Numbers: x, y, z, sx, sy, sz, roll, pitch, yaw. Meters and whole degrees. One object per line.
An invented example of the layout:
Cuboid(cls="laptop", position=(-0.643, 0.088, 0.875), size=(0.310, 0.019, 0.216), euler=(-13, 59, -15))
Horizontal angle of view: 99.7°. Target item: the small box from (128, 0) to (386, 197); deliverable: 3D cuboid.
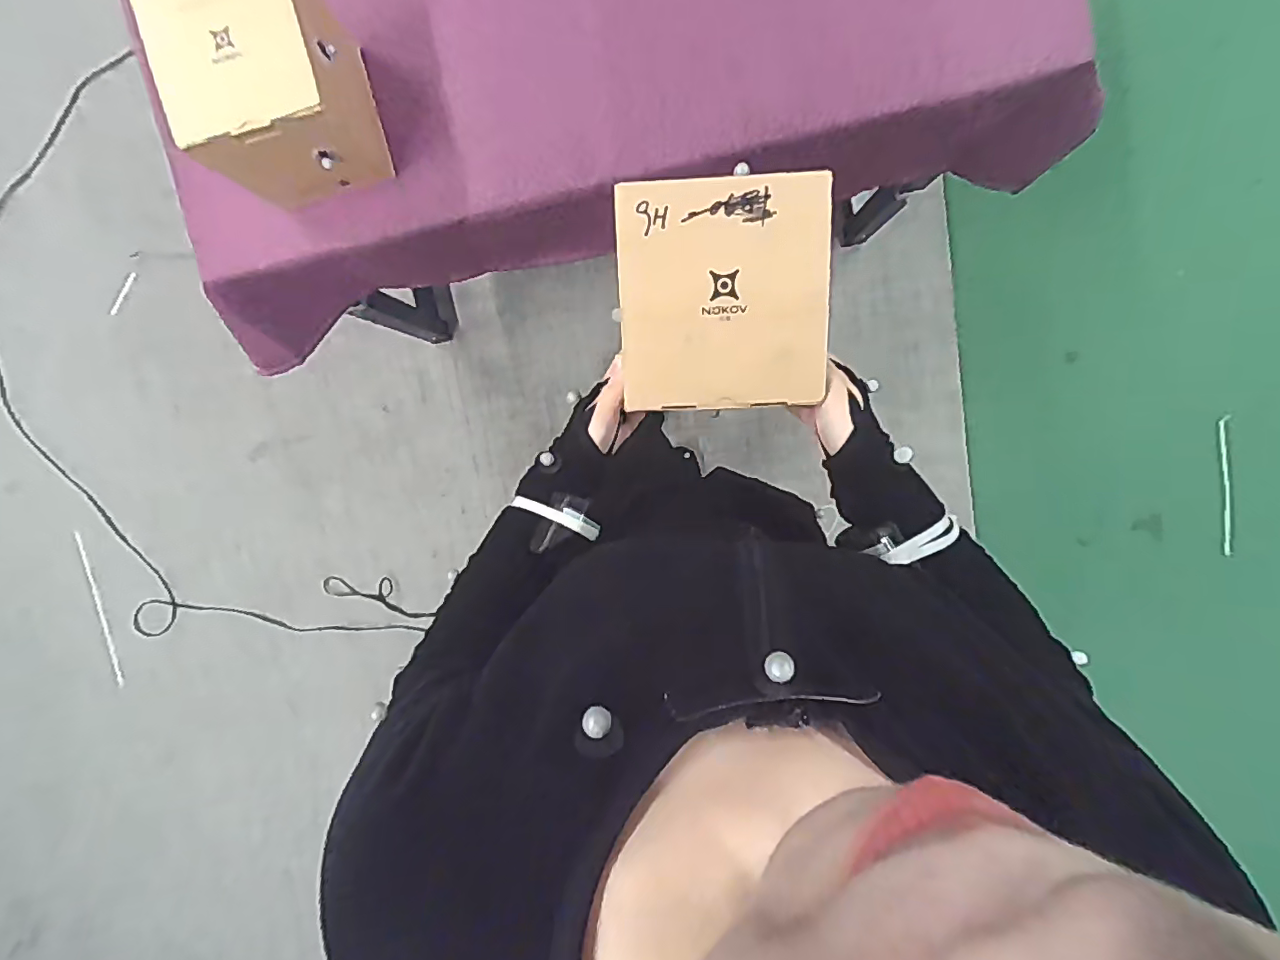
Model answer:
Cuboid(cls="small box", position=(-0.431, -0.460, 0.638), size=(0.168, 0.176, 0.179), euler=(-14, 95, 2))

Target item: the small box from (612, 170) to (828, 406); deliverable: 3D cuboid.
Cuboid(cls="small box", position=(0.065, -0.167, 0.507), size=(0.168, 0.176, 0.179), euler=(-2, 103, 2))
